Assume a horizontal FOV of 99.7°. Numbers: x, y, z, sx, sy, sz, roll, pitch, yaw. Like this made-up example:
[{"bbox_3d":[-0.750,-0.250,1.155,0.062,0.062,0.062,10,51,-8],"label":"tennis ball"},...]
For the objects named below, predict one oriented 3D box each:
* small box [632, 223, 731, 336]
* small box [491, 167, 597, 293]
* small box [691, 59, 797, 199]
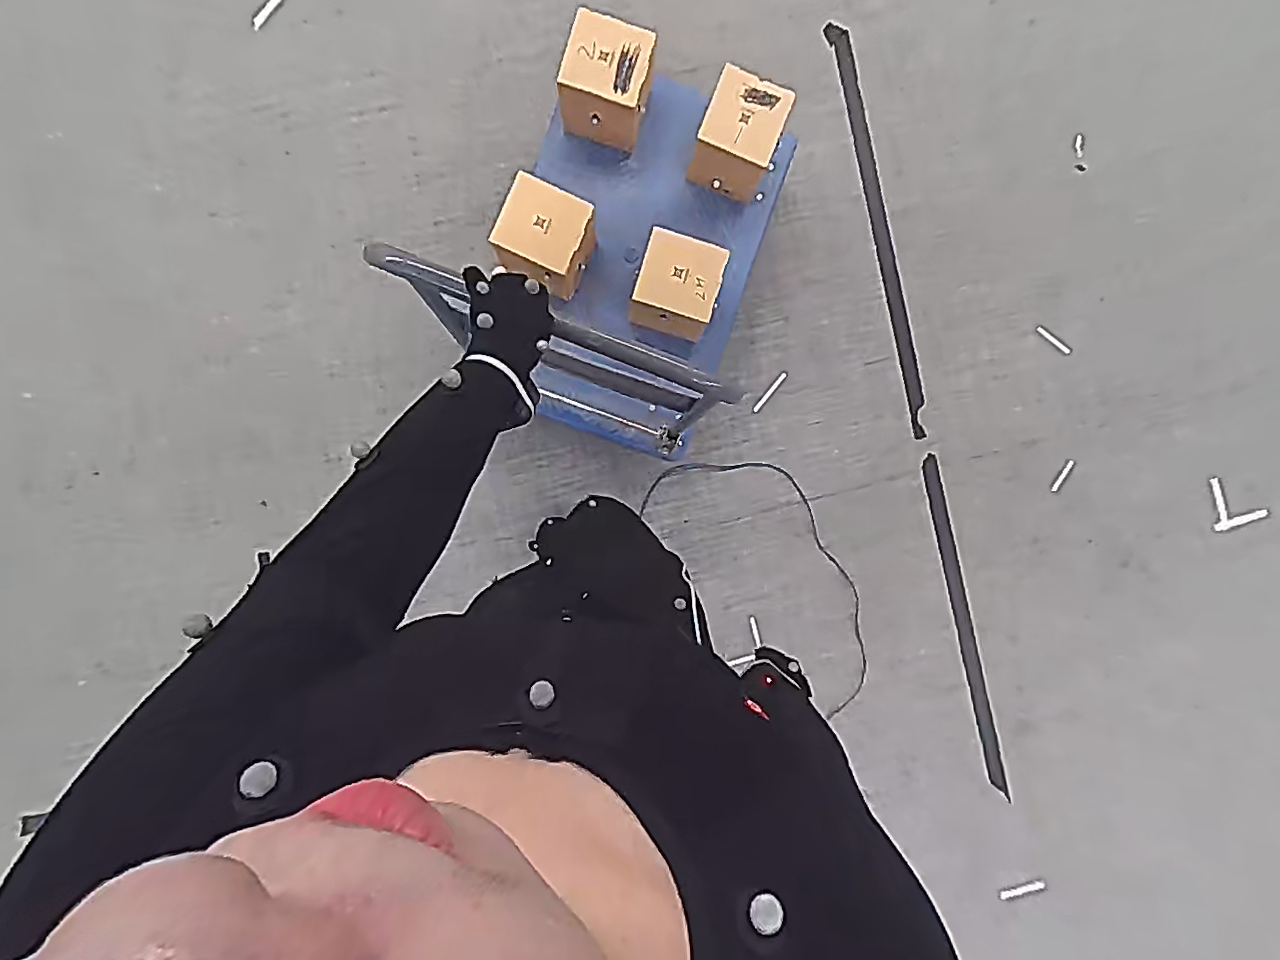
[{"bbox_3d":[0.085,-0.443,1.226,0.179,0.176,0.168,17,90,-4],"label":"small box"},{"bbox_3d":[-0.207,-0.545,1.207,0.179,0.176,0.168,24,89,-5],"label":"small box"},{"bbox_3d":[0.226,-0.785,1.229,0.168,0.176,0.179,22,91,-4],"label":"small box"}]
